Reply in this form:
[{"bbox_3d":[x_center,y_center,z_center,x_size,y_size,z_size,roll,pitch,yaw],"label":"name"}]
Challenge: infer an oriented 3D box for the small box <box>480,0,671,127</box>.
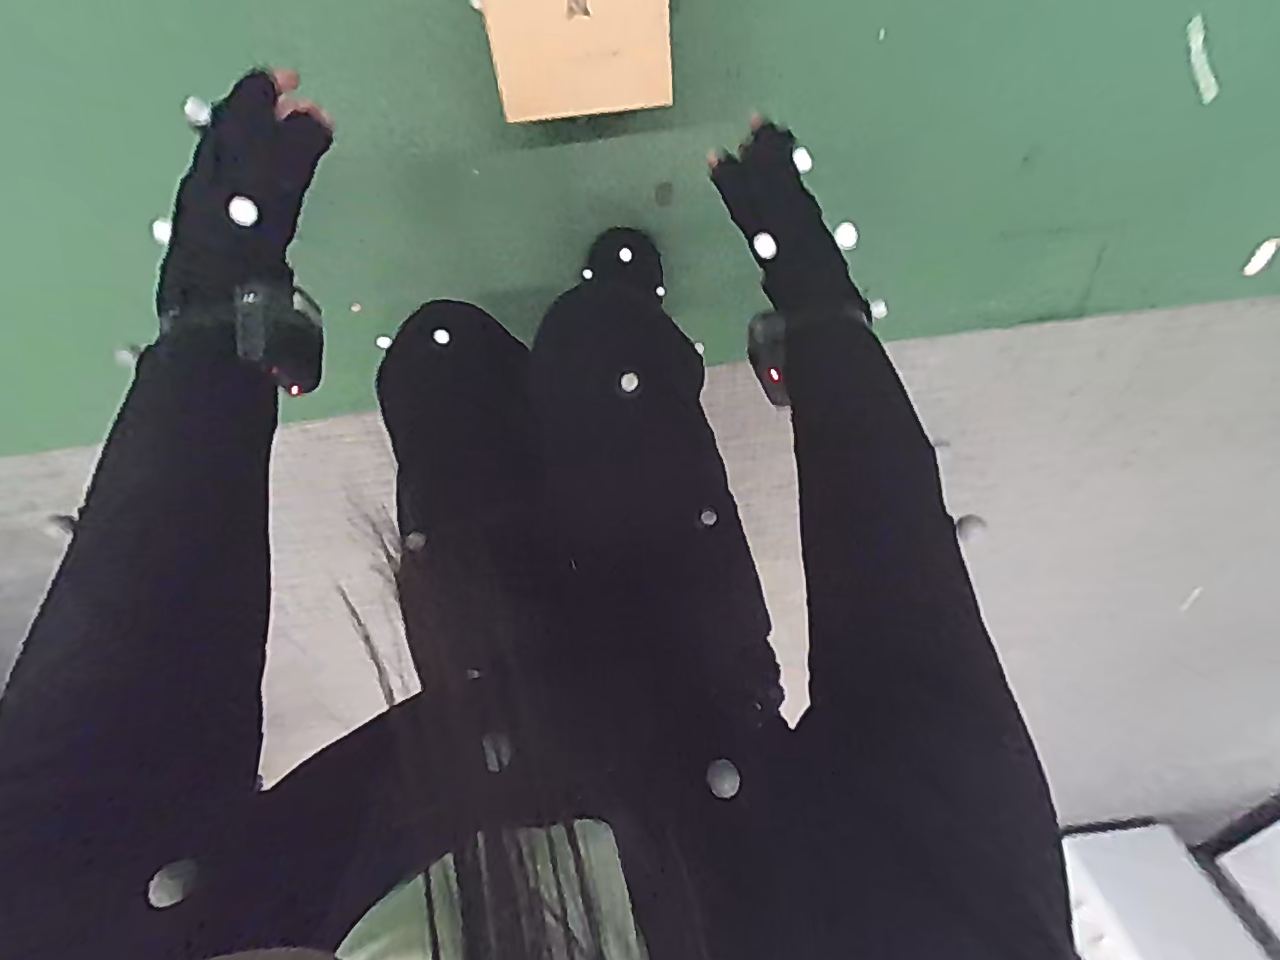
[{"bbox_3d":[-0.061,-0.459,0.527,0.168,0.176,0.179,-4,129,-1],"label":"small box"}]
